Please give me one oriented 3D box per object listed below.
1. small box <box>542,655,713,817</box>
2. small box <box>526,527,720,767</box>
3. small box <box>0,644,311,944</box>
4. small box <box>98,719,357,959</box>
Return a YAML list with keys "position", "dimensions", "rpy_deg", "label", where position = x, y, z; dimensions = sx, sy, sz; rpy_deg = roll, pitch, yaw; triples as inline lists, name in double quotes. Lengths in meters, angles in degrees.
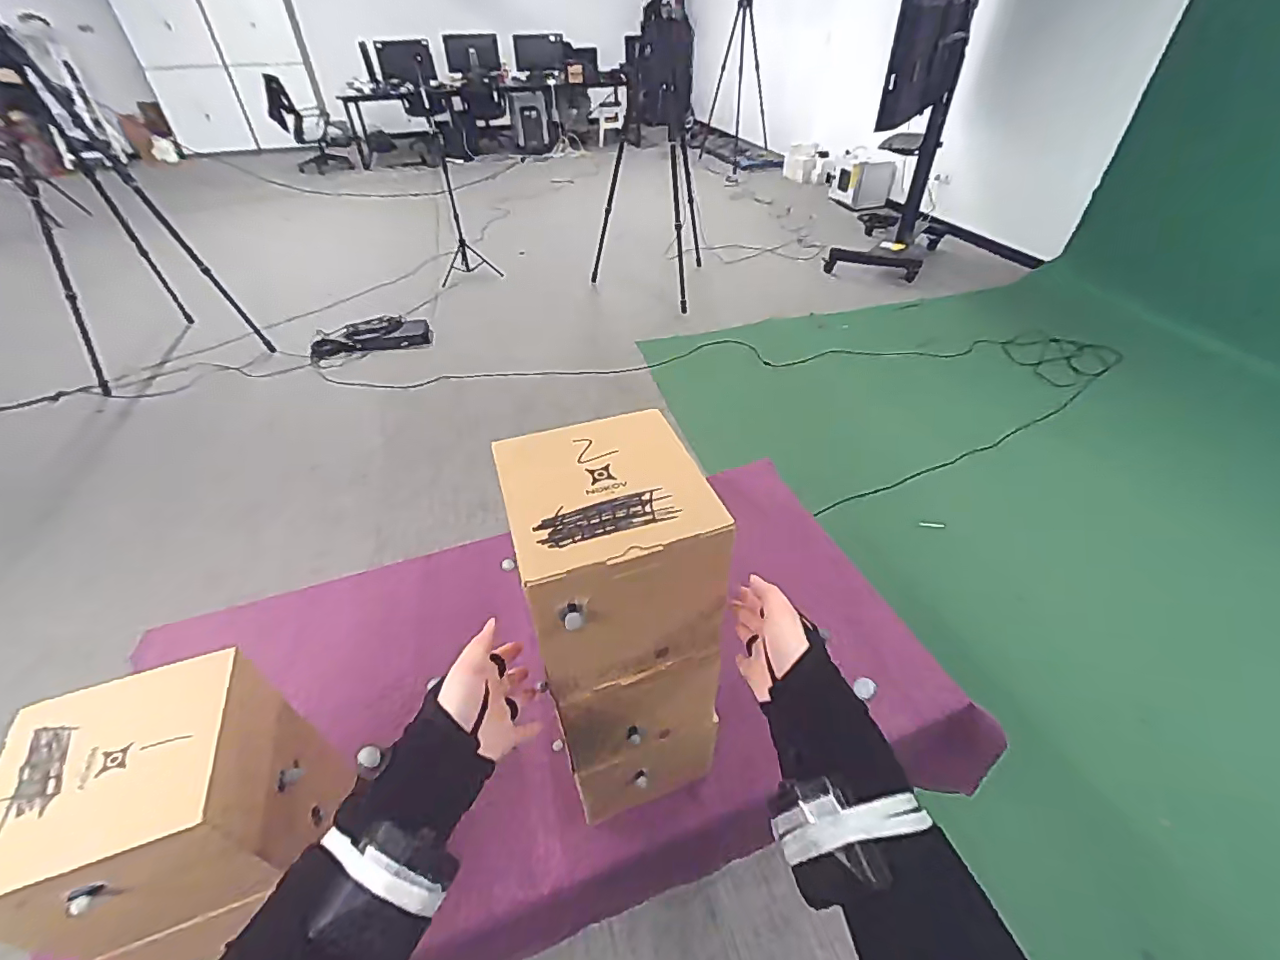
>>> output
- position: [-0.016, 0.312, 0.720]
  dimensions: [0.179, 0.176, 0.168]
  rpy_deg: [-16, 44, -14]
  label: "small box"
- position: [-0.026, 0.186, 0.616]
  dimensions: [0.168, 0.176, 0.179]
  rpy_deg: [-14, 43, -14]
  label: "small box"
- position: [-0.444, 0.292, 0.507]
  dimensions: [0.179, 0.176, 0.168]
  rpy_deg: [-14, 43, -15]
  label: "small box"
- position: [-0.439, 0.414, 0.617]
  dimensions: [0.168, 0.176, 0.179]
  rpy_deg: [-14, 43, -14]
  label: "small box"
